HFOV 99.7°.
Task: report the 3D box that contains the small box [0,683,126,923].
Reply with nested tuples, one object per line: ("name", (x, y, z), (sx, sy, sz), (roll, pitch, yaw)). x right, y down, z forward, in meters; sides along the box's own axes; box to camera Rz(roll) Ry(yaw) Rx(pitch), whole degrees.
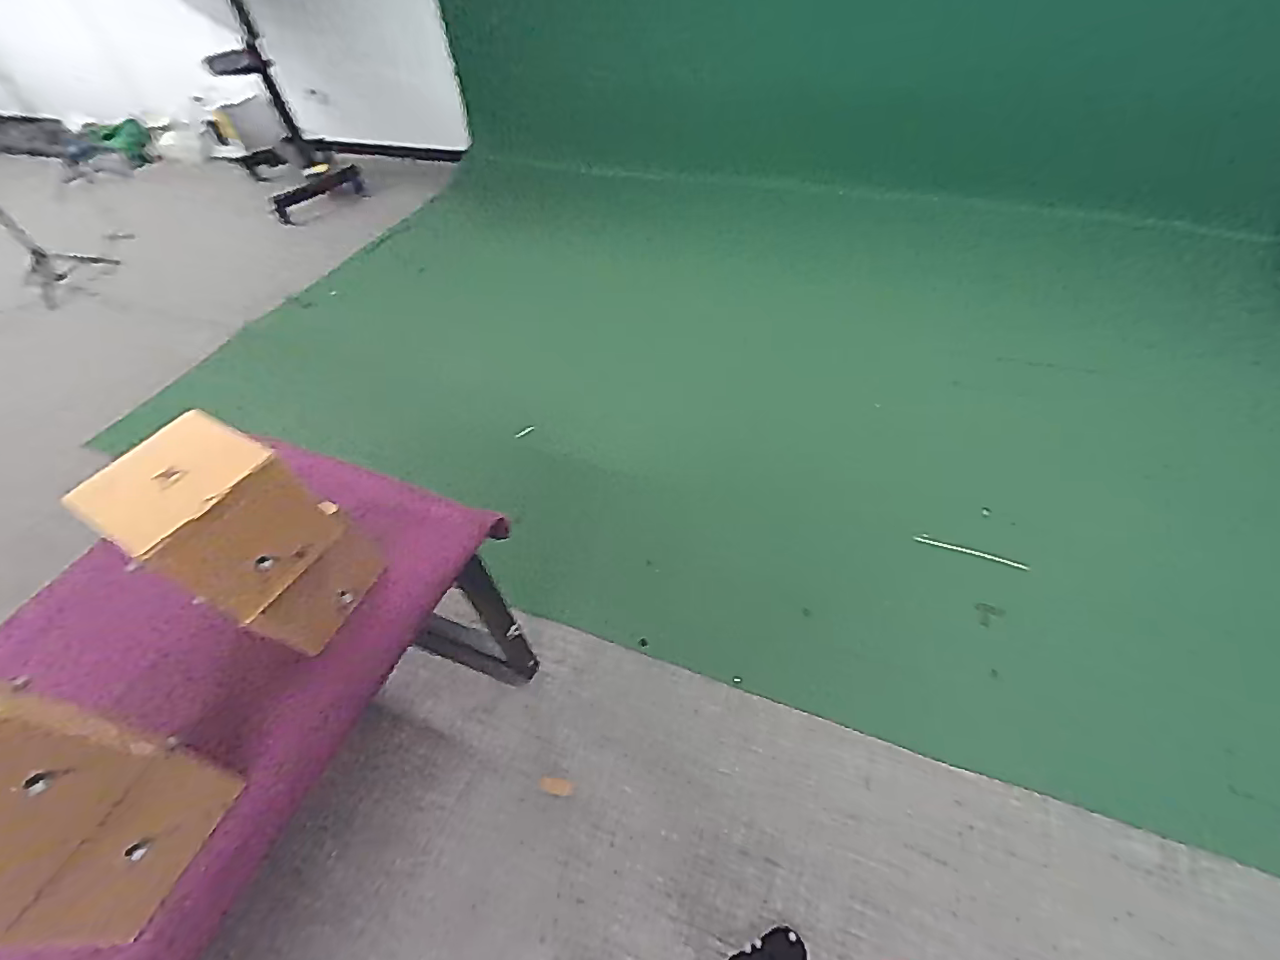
("small box", (-0.639, 0.289, 0.494), (0.168, 0.176, 0.179), (14, 53, 19))

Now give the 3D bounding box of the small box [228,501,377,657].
("small box", (-0.541, 0.139, 0.831), (0.168, 0.176, 0.179), (13, 53, 18))

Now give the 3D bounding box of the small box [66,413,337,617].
("small box", (-0.542, 0.047, 0.693), (0.179, 0.176, 0.168), (21, 55, 21))
